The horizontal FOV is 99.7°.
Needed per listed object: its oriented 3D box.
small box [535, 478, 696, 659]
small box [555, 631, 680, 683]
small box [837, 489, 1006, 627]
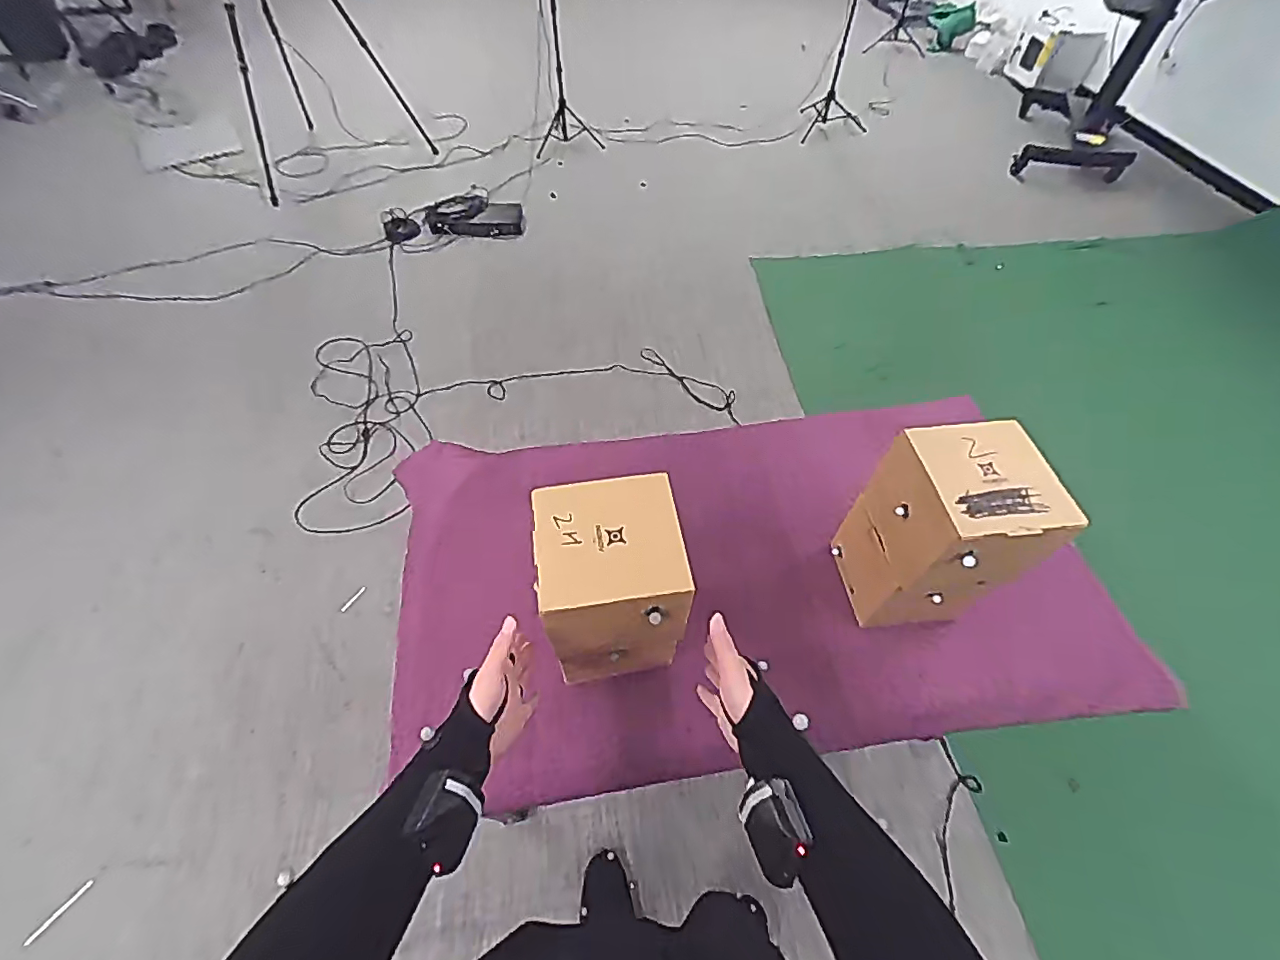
[{"bbox_3d":[-0.037,0.118,0.702,0.179,0.176,0.168,-7,55,-6],"label":"small box"},{"bbox_3d":[-0.044,0.202,0.845,0.179,0.176,0.168,-9,56,-6],"label":"small box"},{"bbox_3d":[0.447,0.134,0.900,0.179,0.176,0.168,-4,54,-5],"label":"small box"}]
